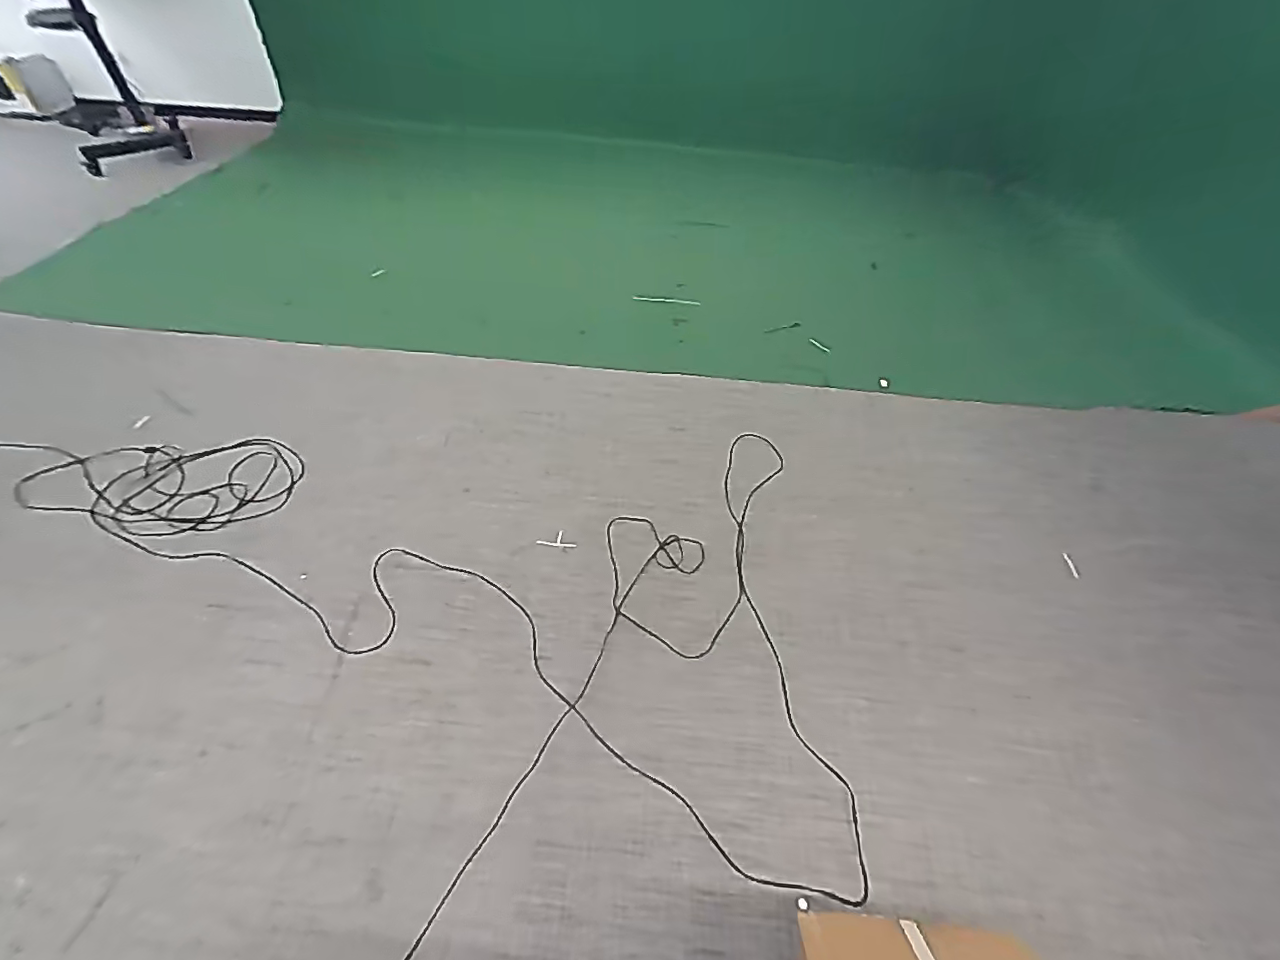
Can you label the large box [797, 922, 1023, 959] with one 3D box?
[{"bbox_3d":[0.365,0.805,0.590,0.320,0.408,0.320,3,87,6],"label":"large box"}]
